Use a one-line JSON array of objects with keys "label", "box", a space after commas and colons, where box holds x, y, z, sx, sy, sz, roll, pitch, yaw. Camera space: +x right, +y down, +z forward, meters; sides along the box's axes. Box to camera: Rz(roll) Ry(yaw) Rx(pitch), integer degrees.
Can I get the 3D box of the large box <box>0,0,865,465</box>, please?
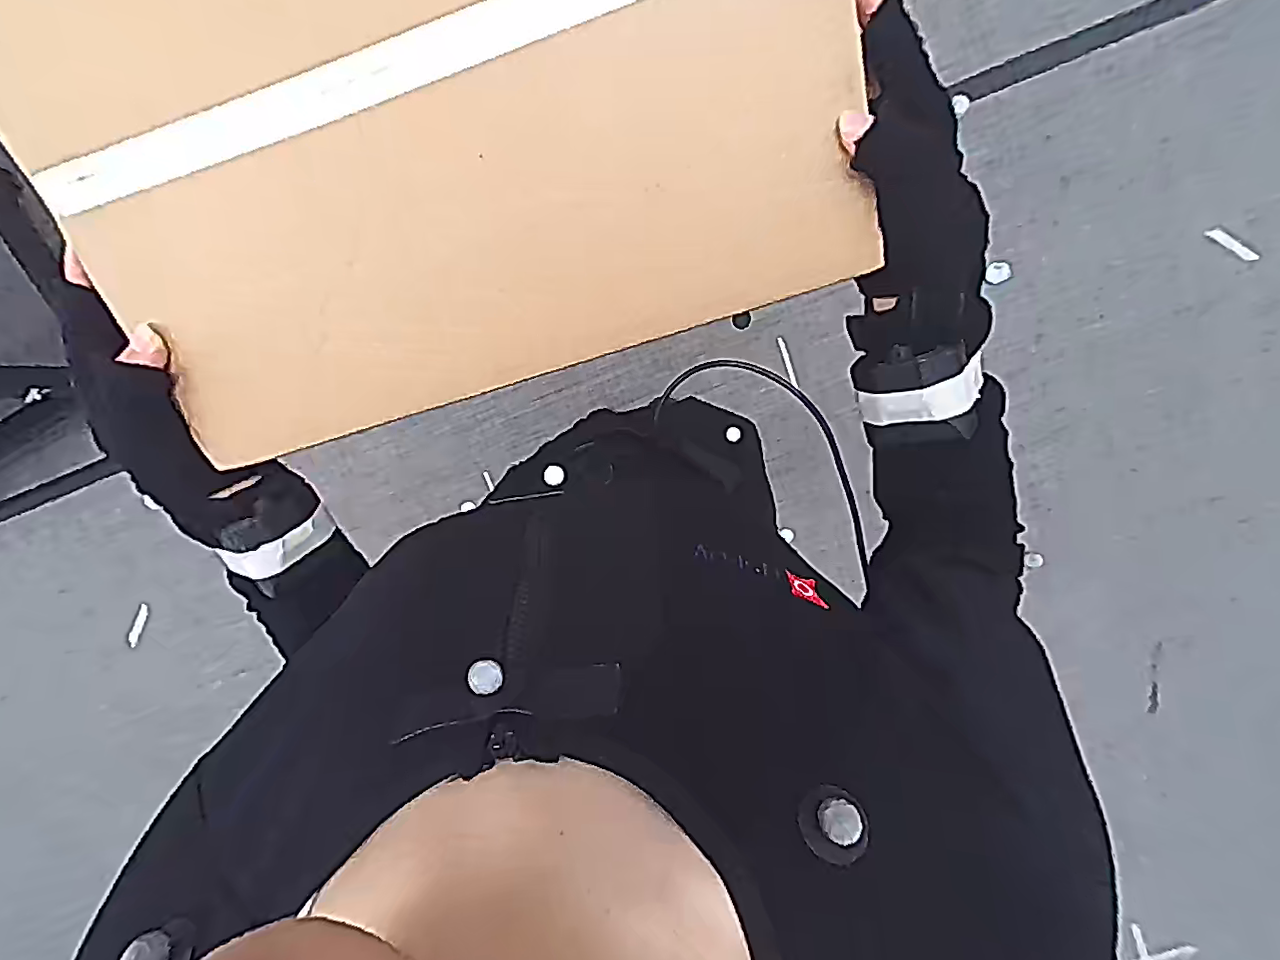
[{"label": "large box", "box": [-0.107, -0.255, 0.403, 0.408, 0.320, 0.320, -16, 111, 6]}]
